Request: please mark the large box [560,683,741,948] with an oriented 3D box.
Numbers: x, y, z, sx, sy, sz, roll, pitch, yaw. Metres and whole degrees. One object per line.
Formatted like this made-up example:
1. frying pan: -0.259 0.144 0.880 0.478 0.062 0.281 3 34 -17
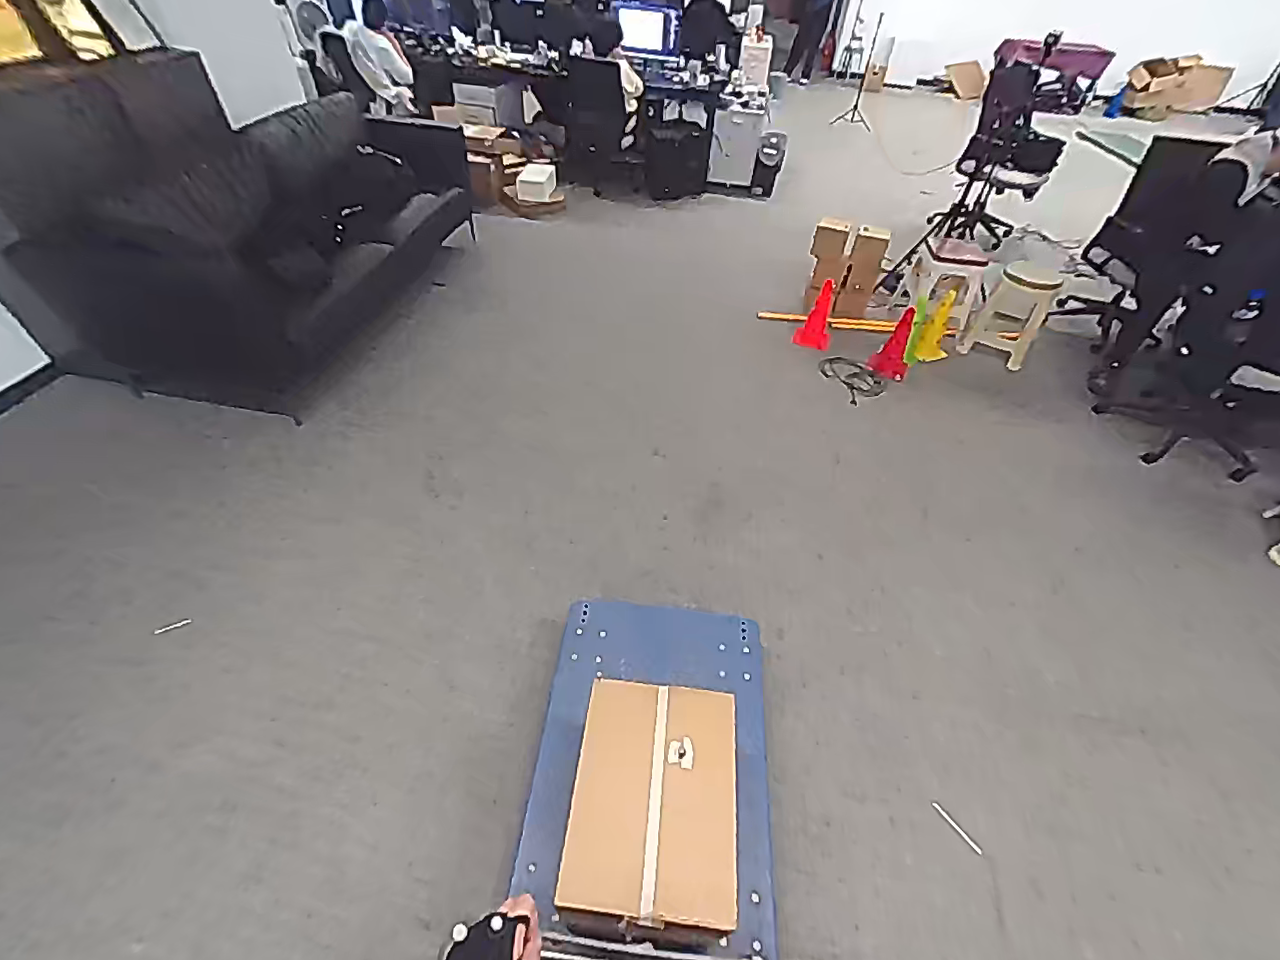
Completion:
1. large box: 0.029 0.702 1.145 0.320 0.320 0.408 6 45 3
